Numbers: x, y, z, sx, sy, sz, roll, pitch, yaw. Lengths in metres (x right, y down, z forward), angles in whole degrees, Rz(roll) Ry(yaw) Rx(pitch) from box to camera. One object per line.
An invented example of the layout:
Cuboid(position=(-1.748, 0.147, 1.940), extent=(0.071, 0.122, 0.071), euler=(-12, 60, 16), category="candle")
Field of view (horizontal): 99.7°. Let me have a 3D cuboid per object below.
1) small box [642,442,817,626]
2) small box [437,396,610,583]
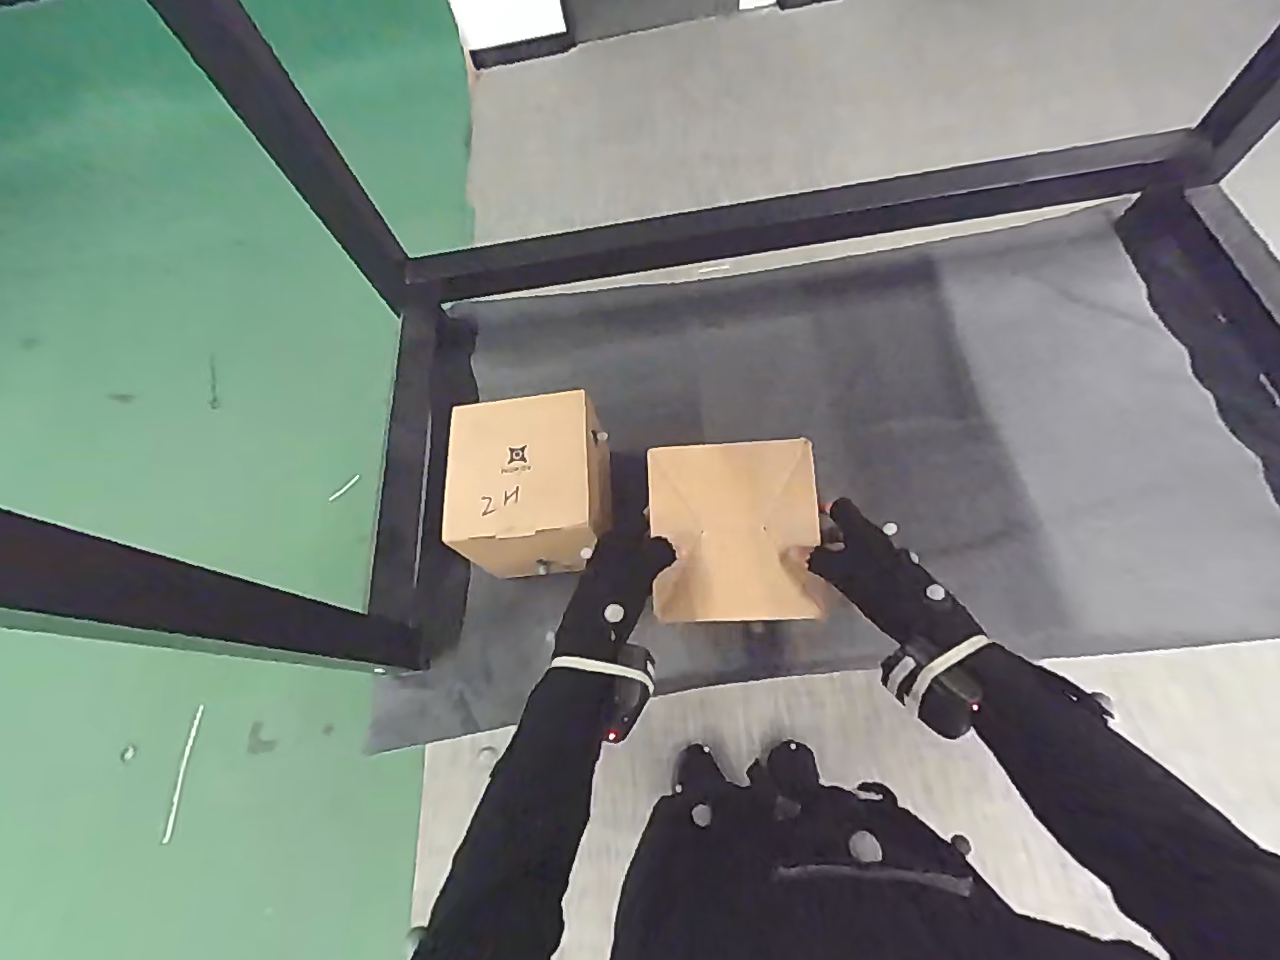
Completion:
Cuboid(position=(0.096, 0.066, 0.601), extent=(0.168, 0.176, 0.179), euler=(-3, 80, 8), category="small box")
Cuboid(position=(-0.134, 0.019, 0.686), extent=(0.168, 0.176, 0.179), euler=(-7, 64, 5), category="small box")
